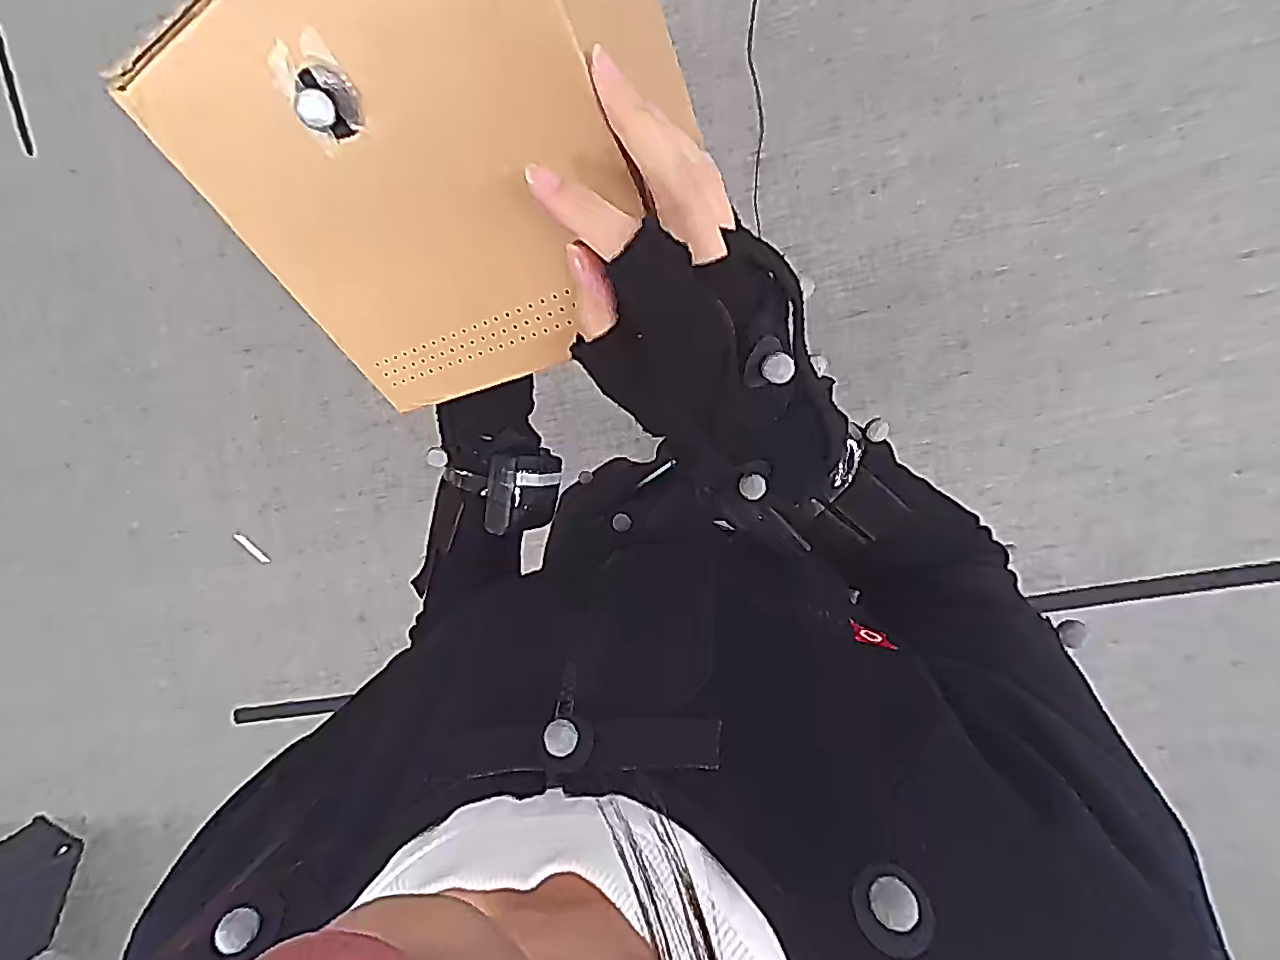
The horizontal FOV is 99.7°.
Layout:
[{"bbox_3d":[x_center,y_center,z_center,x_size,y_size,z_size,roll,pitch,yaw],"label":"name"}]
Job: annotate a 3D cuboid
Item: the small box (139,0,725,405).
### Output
[{"bbox_3d":[-0.070,-0.160,0.275,0.179,0.168,0.176,-11,133,24],"label":"small box"}]
